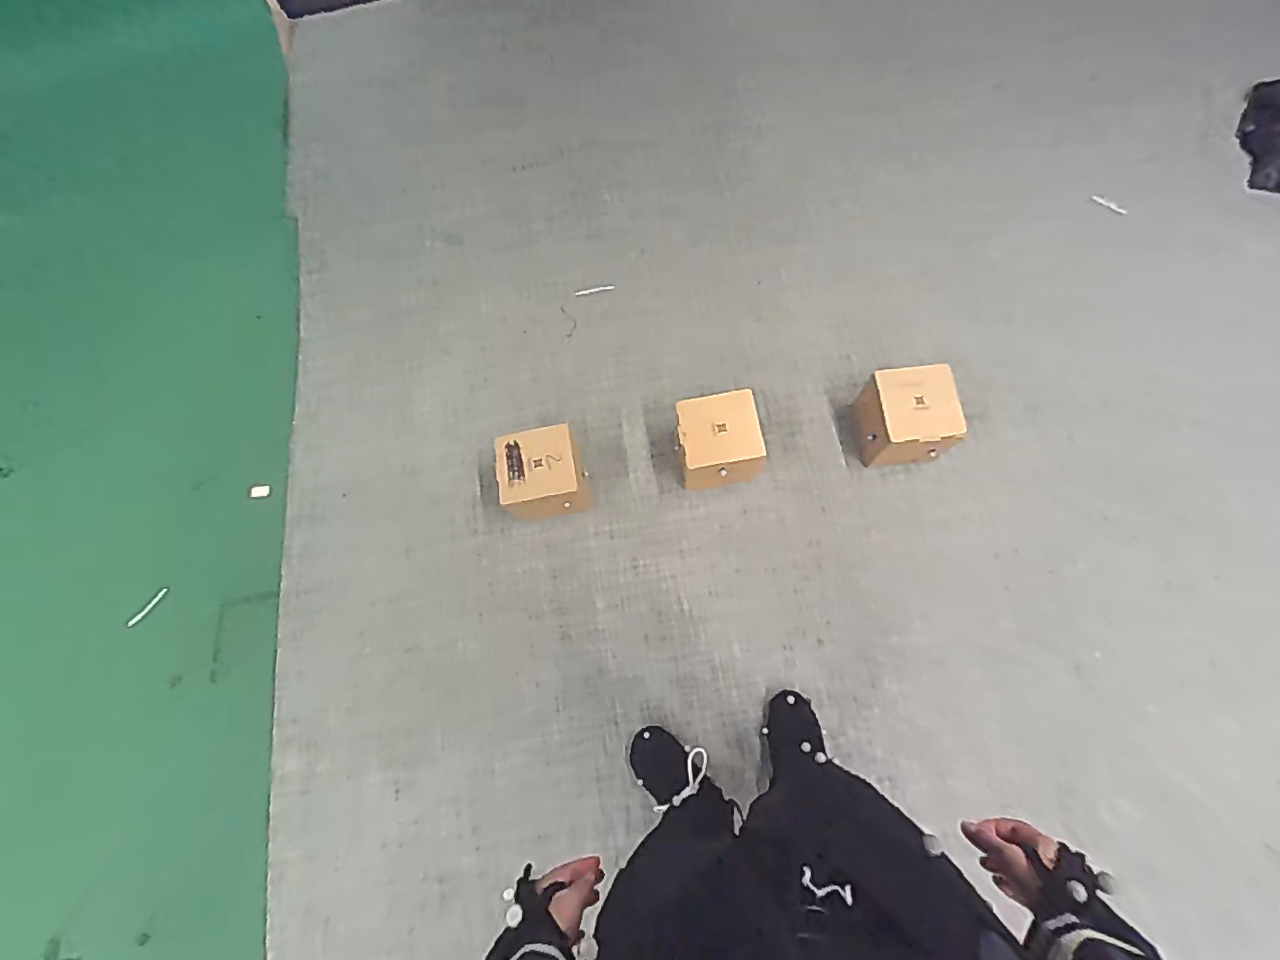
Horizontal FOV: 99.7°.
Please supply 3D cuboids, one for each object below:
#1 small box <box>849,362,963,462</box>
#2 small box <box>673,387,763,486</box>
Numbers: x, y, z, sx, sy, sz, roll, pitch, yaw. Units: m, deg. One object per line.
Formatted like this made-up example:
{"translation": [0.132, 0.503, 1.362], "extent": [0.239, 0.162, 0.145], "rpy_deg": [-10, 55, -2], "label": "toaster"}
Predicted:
{"translation": [0.603, -0.148, 1.248], "extent": [0.168, 0.176, 0.179], "rpy_deg": [-6, 71, 1], "label": "small box"}
{"translation": [0.175, -0.096, 1.264], "extent": [0.179, 0.176, 0.168], "rpy_deg": [-10, 72, 2], "label": "small box"}
